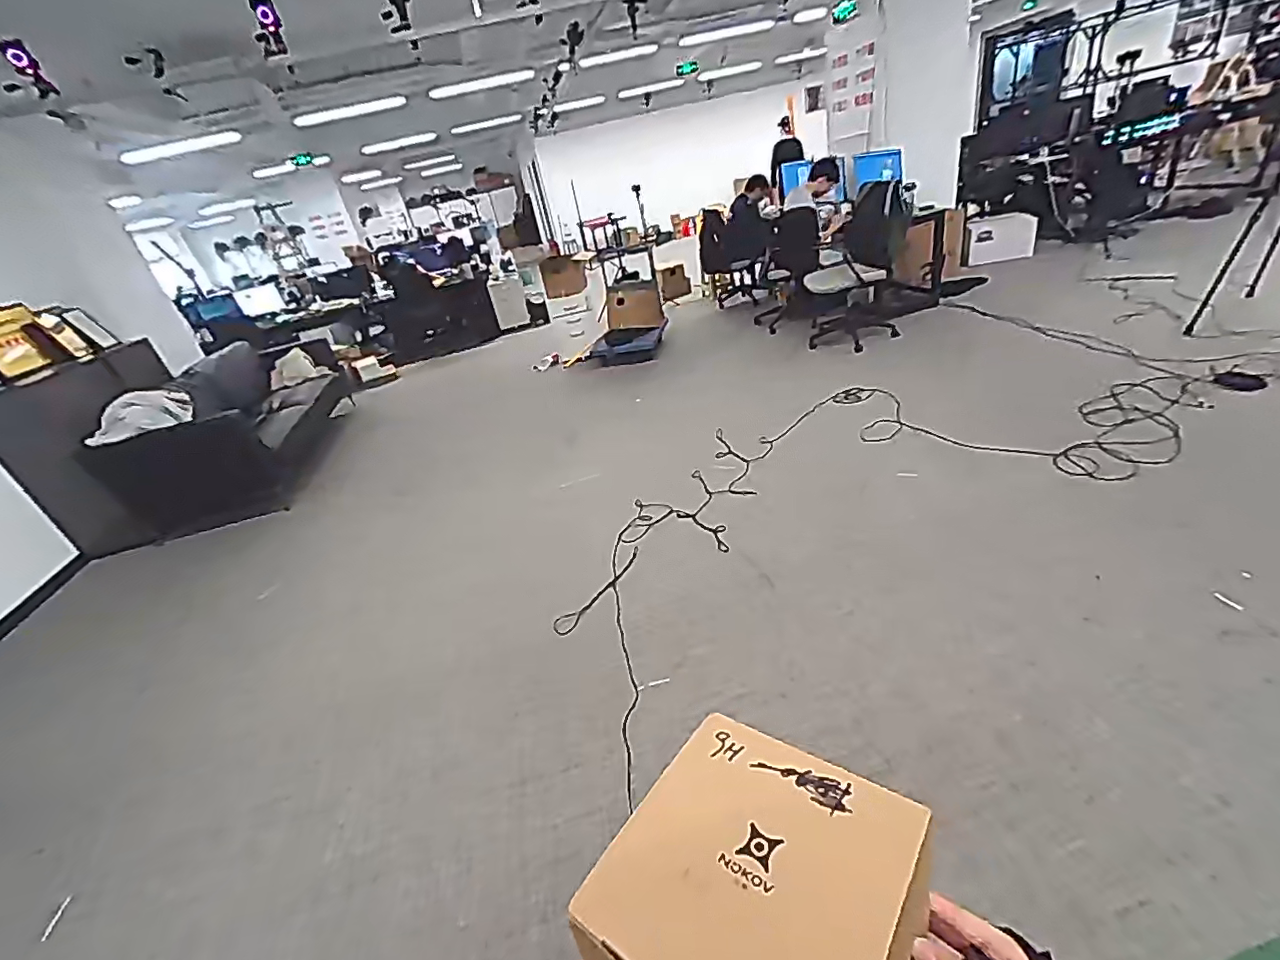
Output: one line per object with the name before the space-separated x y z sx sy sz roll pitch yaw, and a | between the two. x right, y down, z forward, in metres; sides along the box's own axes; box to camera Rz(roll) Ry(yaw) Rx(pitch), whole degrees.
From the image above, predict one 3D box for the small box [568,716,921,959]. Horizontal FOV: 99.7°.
small box | 0.083 0.313 0.371 0.168 0.176 0.179 9 31 39
